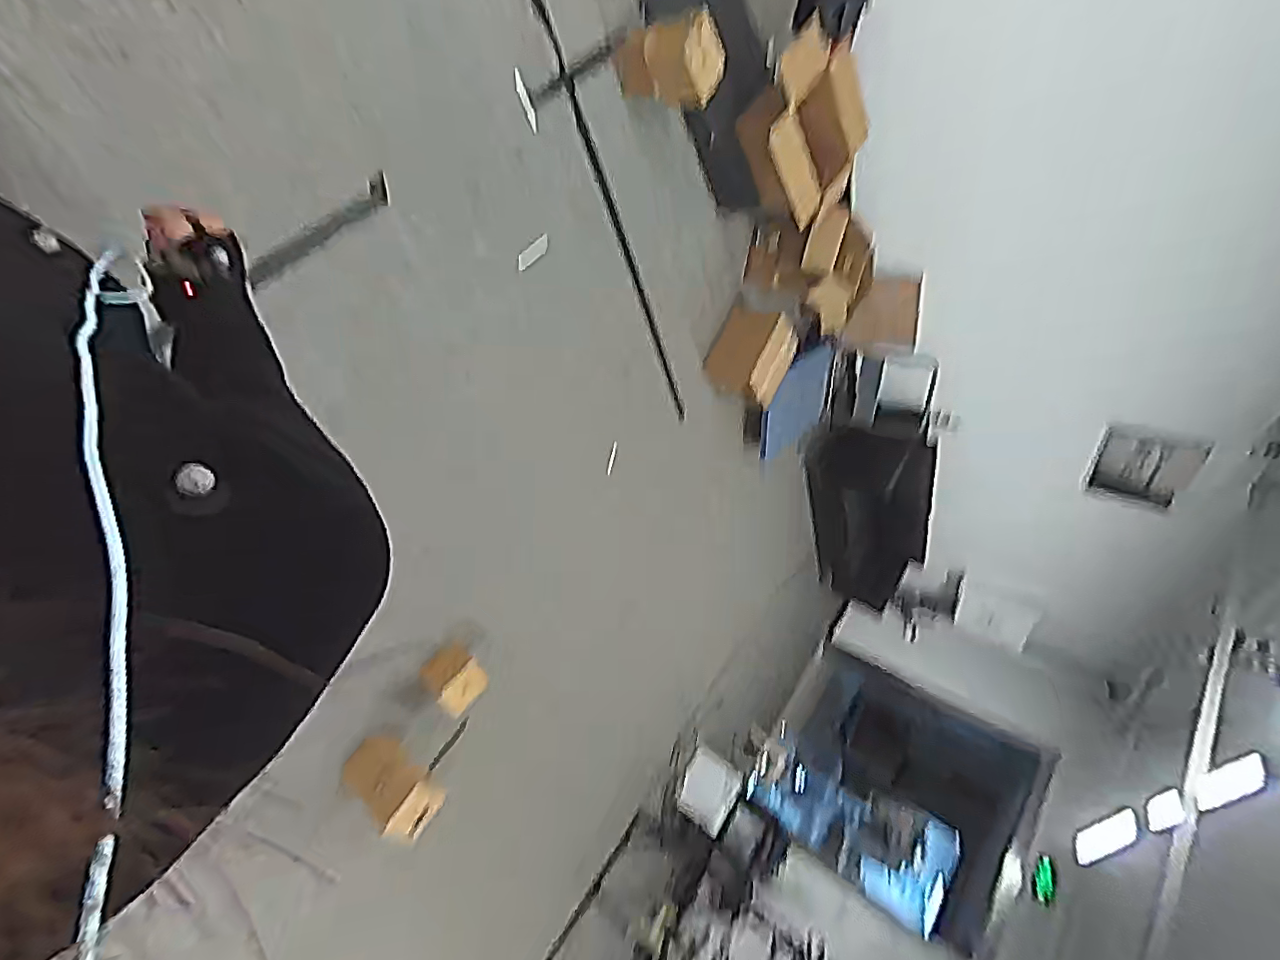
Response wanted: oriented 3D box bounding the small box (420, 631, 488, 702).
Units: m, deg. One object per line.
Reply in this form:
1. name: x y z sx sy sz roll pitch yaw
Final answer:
1. small box: -0.752 0.744 2.169 0.179 0.176 0.168 -46 140 -28
